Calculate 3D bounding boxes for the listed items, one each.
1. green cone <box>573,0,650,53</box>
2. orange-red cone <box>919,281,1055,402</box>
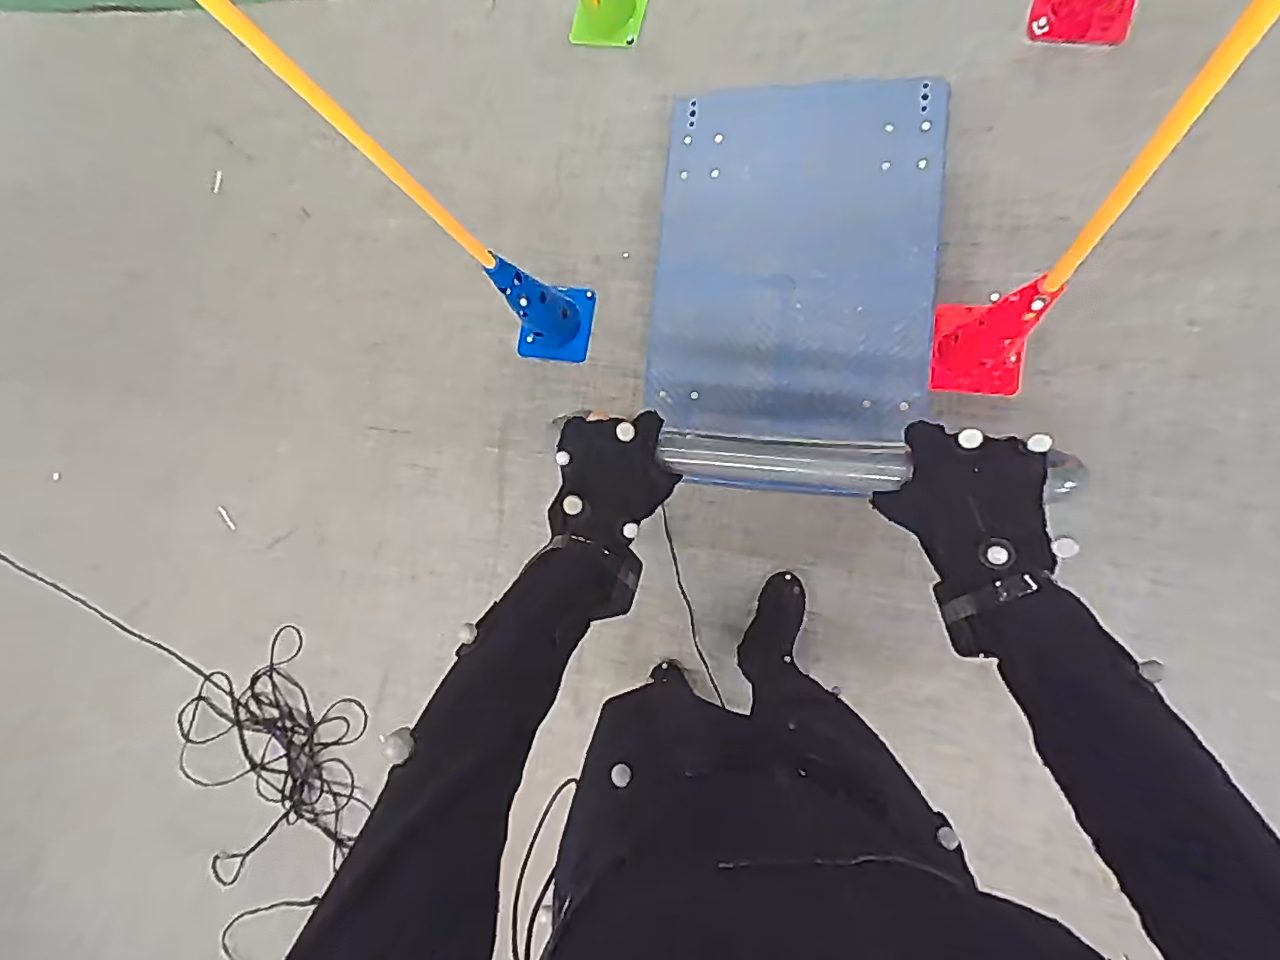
[{"bbox_3d":[-0.117,-1.292,1.325,0.202,0.368,0.200,14,88,15],"label":"green cone"},{"bbox_3d":[0.706,-0.295,1.062,0.199,0.360,0.198,9,87,15],"label":"orange-red cone"}]
